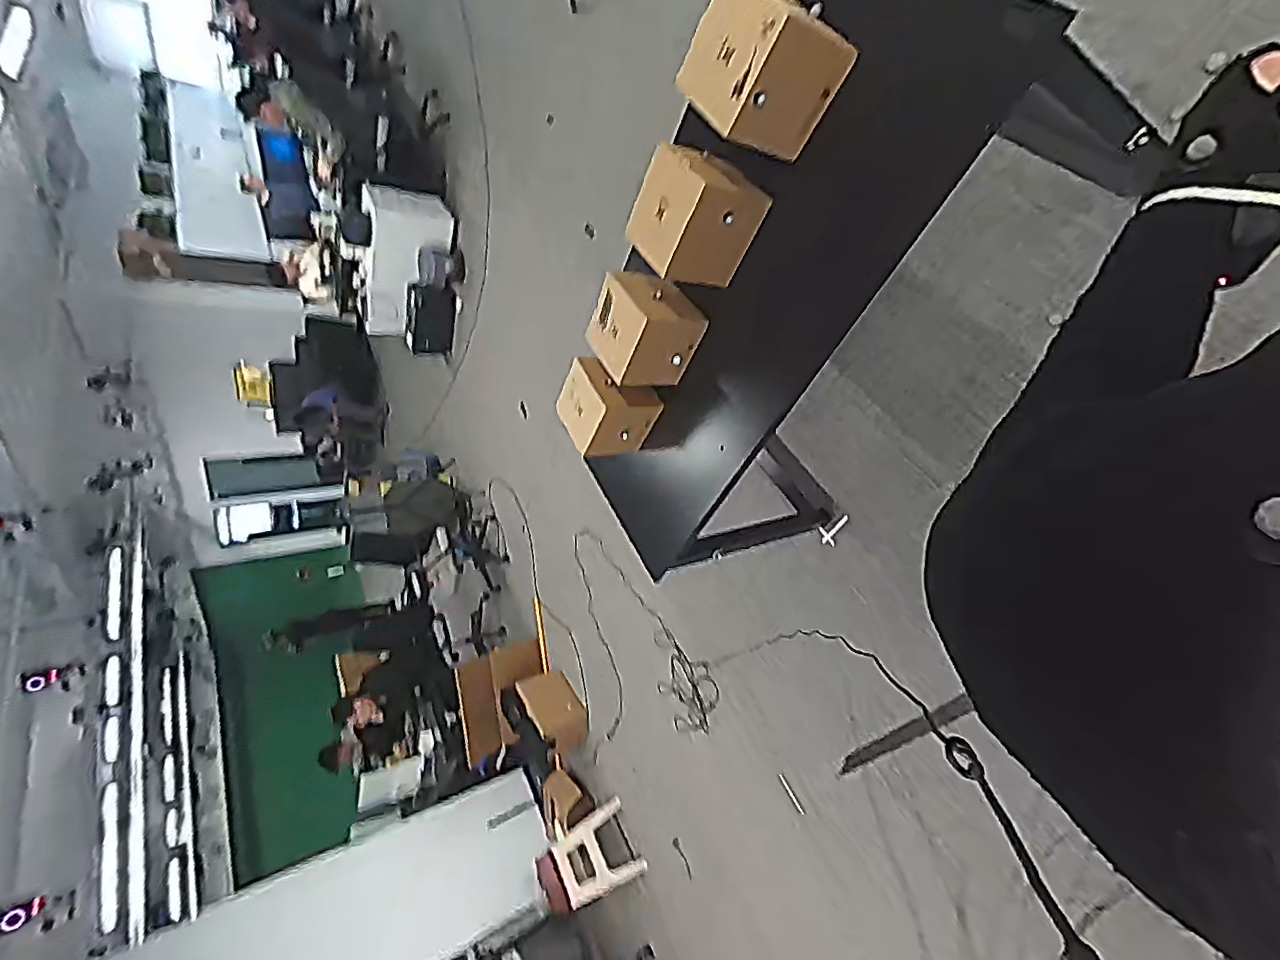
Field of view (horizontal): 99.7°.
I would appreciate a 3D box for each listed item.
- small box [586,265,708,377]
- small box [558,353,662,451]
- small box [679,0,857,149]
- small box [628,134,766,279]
[{"bbox_3d":[0.014,-0.338,1.173,0.179,0.176,0.168,57,138,29],"label":"small box"},{"bbox_3d":[-0.073,-0.193,1.322,0.179,0.176,0.168,61,138,27],"label":"small box"},{"bbox_3d":[0.198,-0.660,0.854,0.168,0.176,0.179,-55,53,44],"label":"small box"},{"bbox_3d":[0.109,-0.503,1.013,0.168,0.176,0.179,59,139,30],"label":"small box"}]
